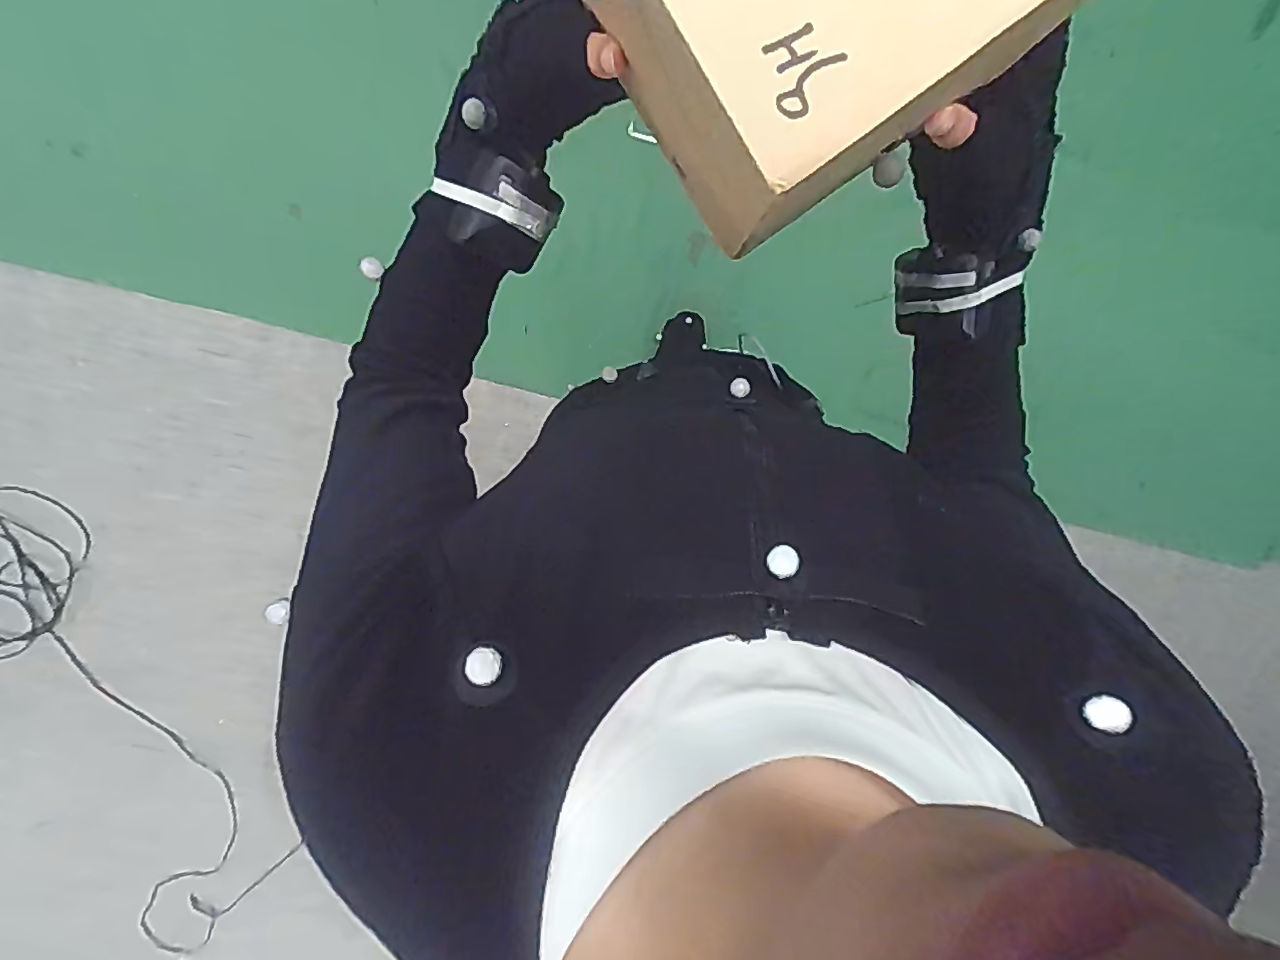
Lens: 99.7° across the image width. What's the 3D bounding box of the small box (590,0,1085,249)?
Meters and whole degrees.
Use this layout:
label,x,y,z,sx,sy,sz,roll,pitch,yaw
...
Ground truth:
label,x,y,z,sx,sy,sz,roll,pitch,yaw
small box,0.078,-0.228,0.227,0.179,0.176,0.168,-33,99,11
